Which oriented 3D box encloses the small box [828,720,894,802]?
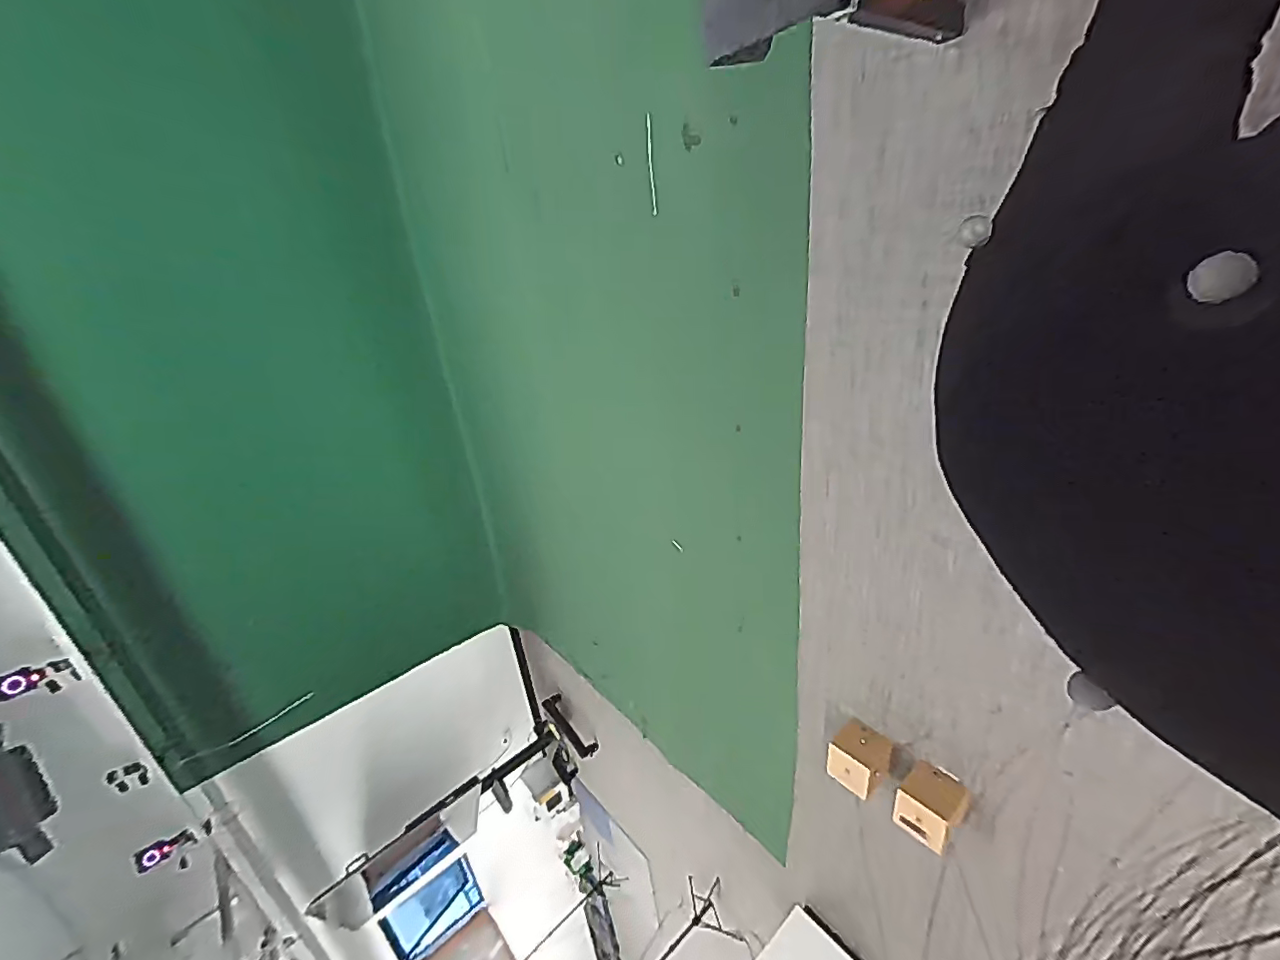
[{"bbox_3d":[0.838,1.056,2.047,0.168,0.176,0.179,24,128,47],"label":"small box"}]
